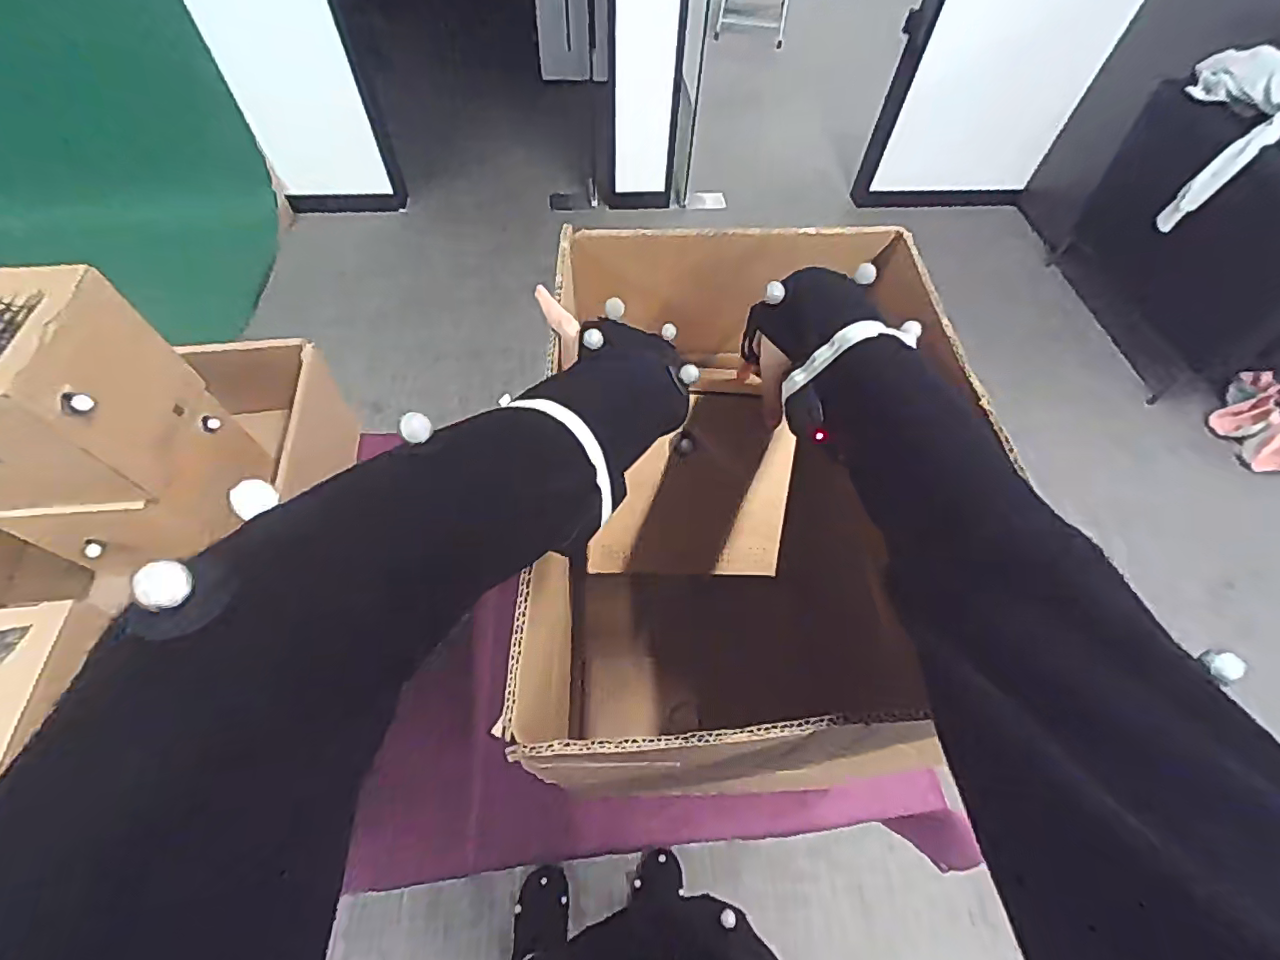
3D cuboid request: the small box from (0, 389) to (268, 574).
[{"bbox_3d":[-0.610,0.010,0.676,0.168,0.176,0.179,-3,58,-4],"label":"small box"}]
